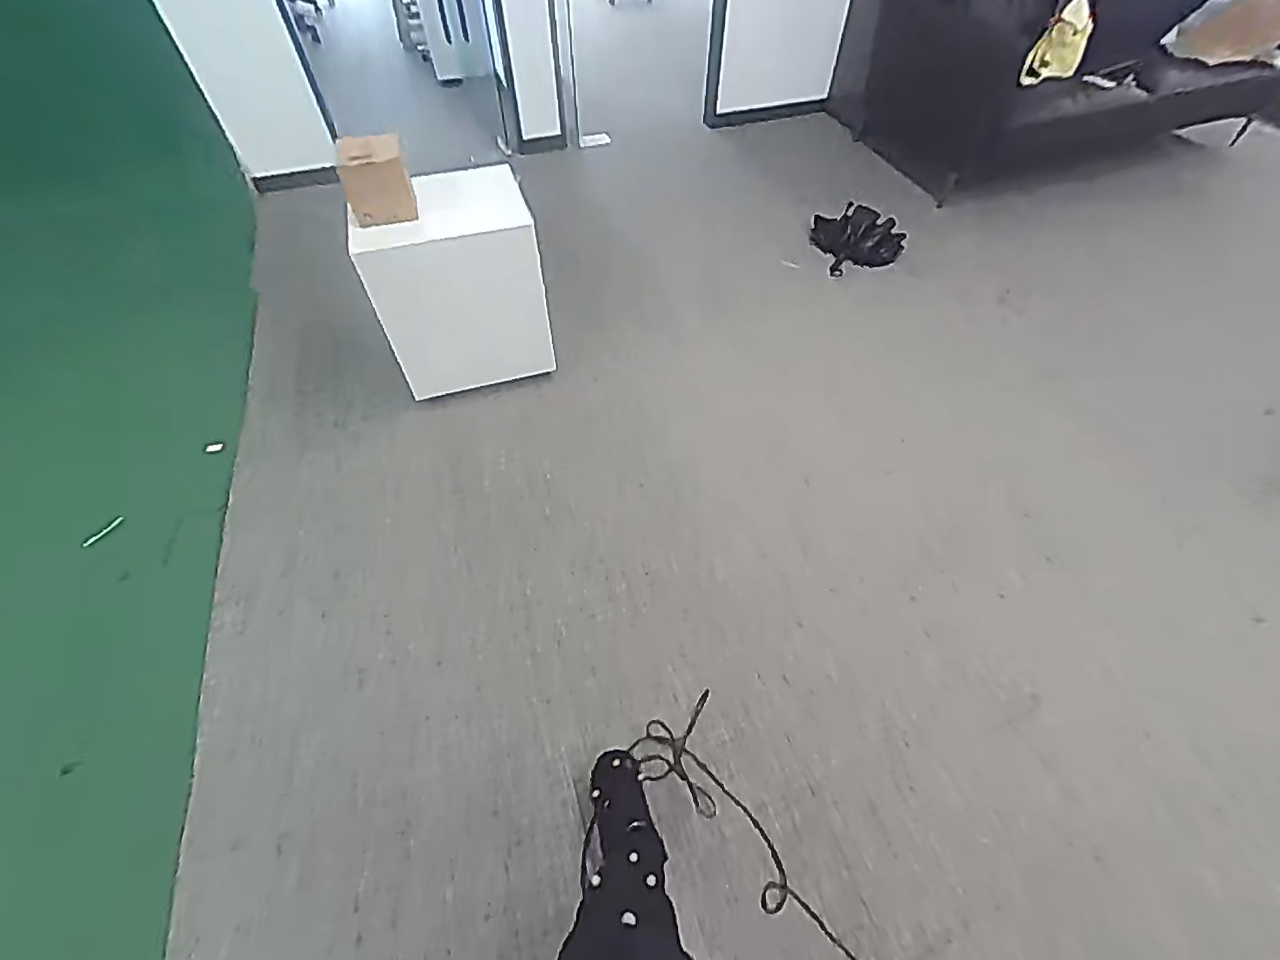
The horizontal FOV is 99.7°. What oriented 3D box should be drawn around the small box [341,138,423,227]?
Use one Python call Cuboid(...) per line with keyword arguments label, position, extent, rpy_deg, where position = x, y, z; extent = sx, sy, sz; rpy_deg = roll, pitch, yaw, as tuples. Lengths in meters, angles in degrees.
Cuboid(label="small box", position=(-0.730, -0.840, 1.541), extent=(0.168, 0.176, 0.179), rpy_deg=(-14, 54, -11))
